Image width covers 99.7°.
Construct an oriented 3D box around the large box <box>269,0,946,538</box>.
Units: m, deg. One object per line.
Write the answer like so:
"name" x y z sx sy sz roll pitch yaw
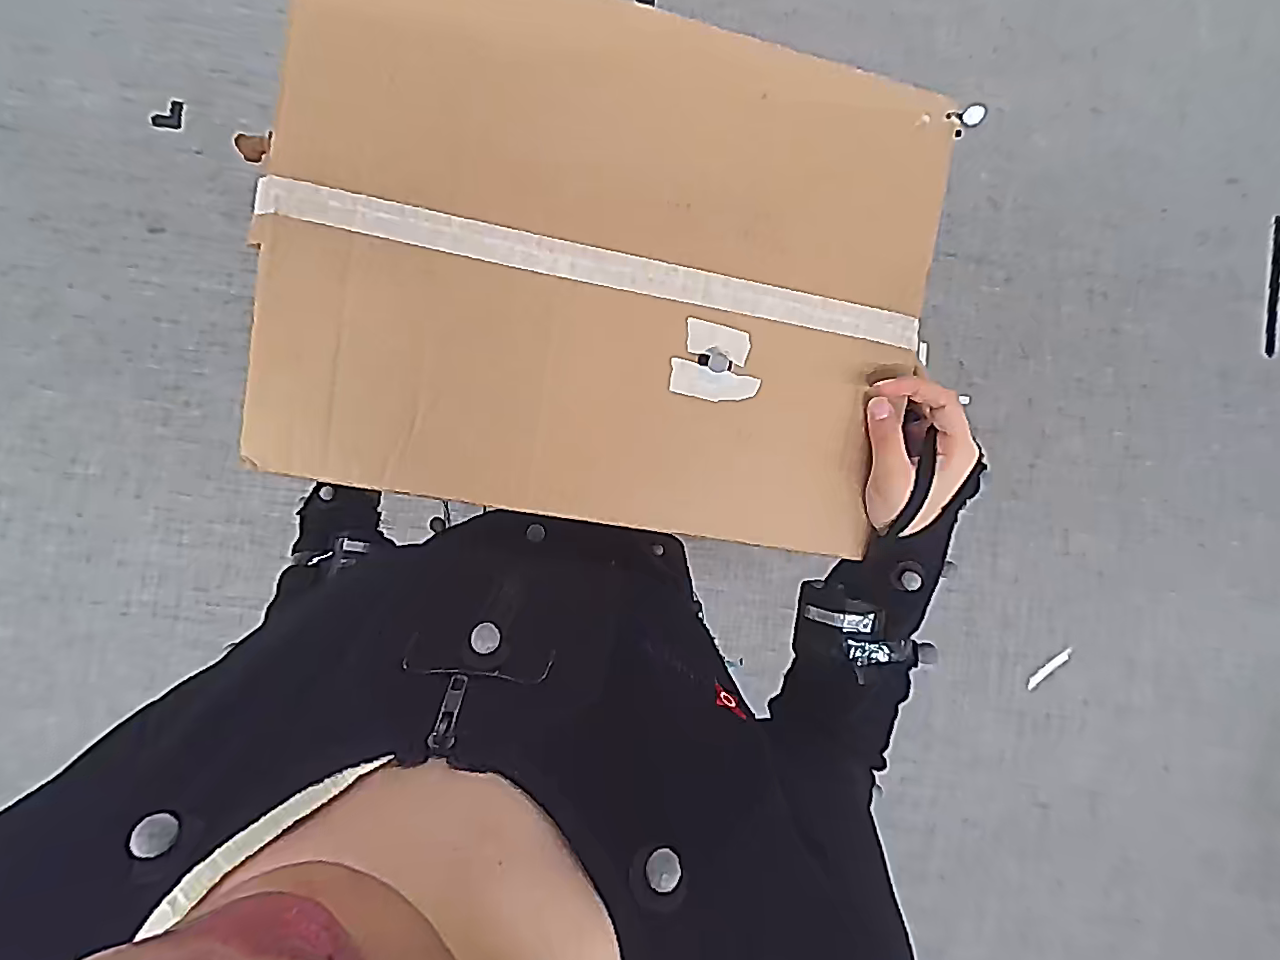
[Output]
"large box" -0.031 -0.148 0.490 0.408 0.320 0.320 9 95 -10
